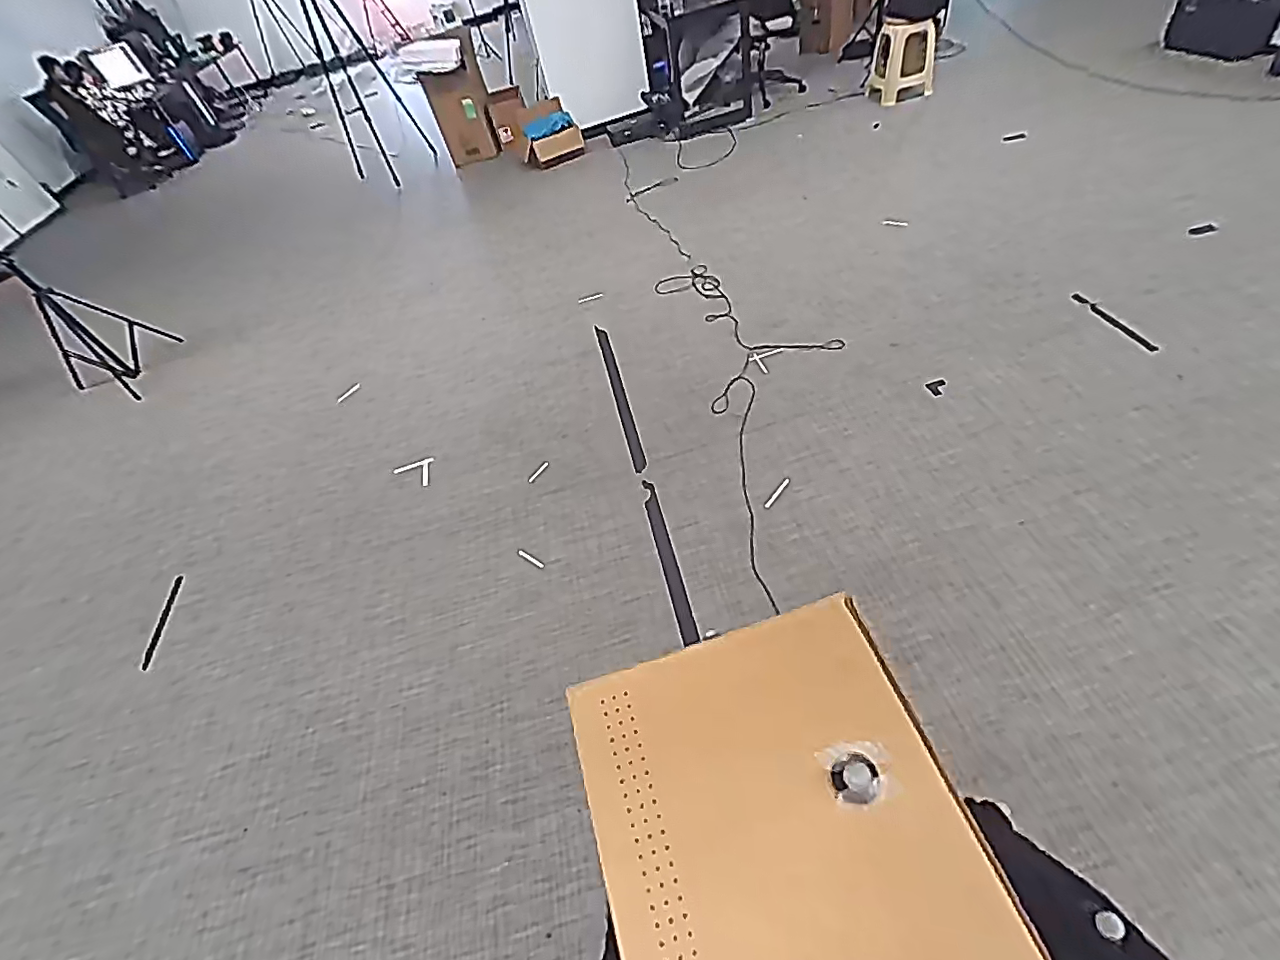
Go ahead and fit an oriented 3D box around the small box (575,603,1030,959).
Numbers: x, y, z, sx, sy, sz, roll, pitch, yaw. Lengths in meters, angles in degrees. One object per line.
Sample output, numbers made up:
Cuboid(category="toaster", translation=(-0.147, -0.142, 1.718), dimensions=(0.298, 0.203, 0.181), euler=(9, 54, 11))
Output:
Cuboid(category="small box", translation=(0.070, 0.205, 0.326), dimensions=(0.176, 0.168, 0.179), euler=(-20, 57, -1))
